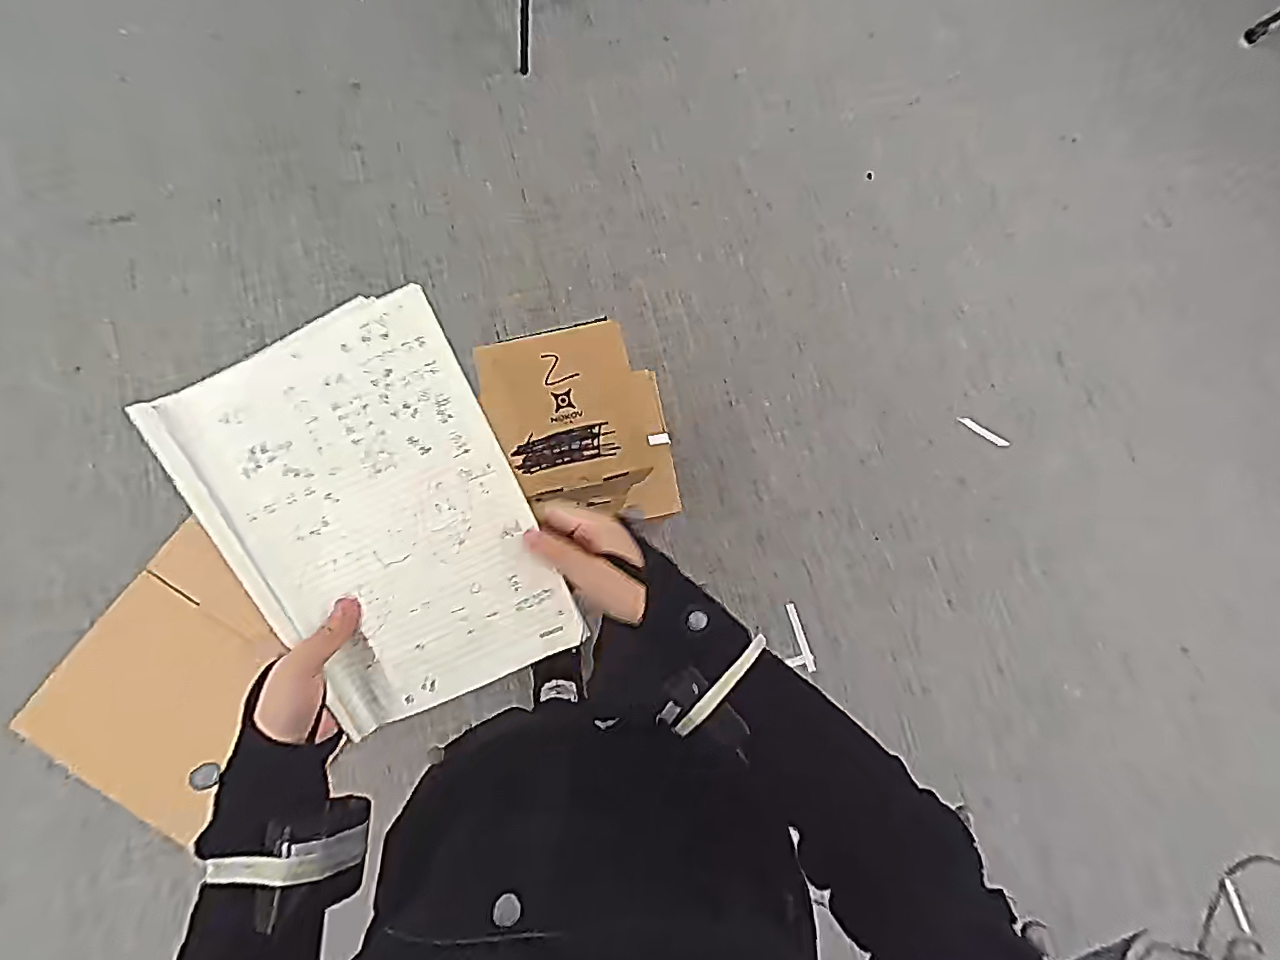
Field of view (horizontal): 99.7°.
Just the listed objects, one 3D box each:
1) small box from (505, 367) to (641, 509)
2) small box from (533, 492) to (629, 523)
[{"bbox_3d":[-0.100,-0.054,0.831,0.168,0.176,0.179,-11,84,-8],"label":"small box"},{"bbox_3d":[-0.115,-0.018,0.993,0.168,0.176,0.179,-8,80,-7],"label":"small box"}]
